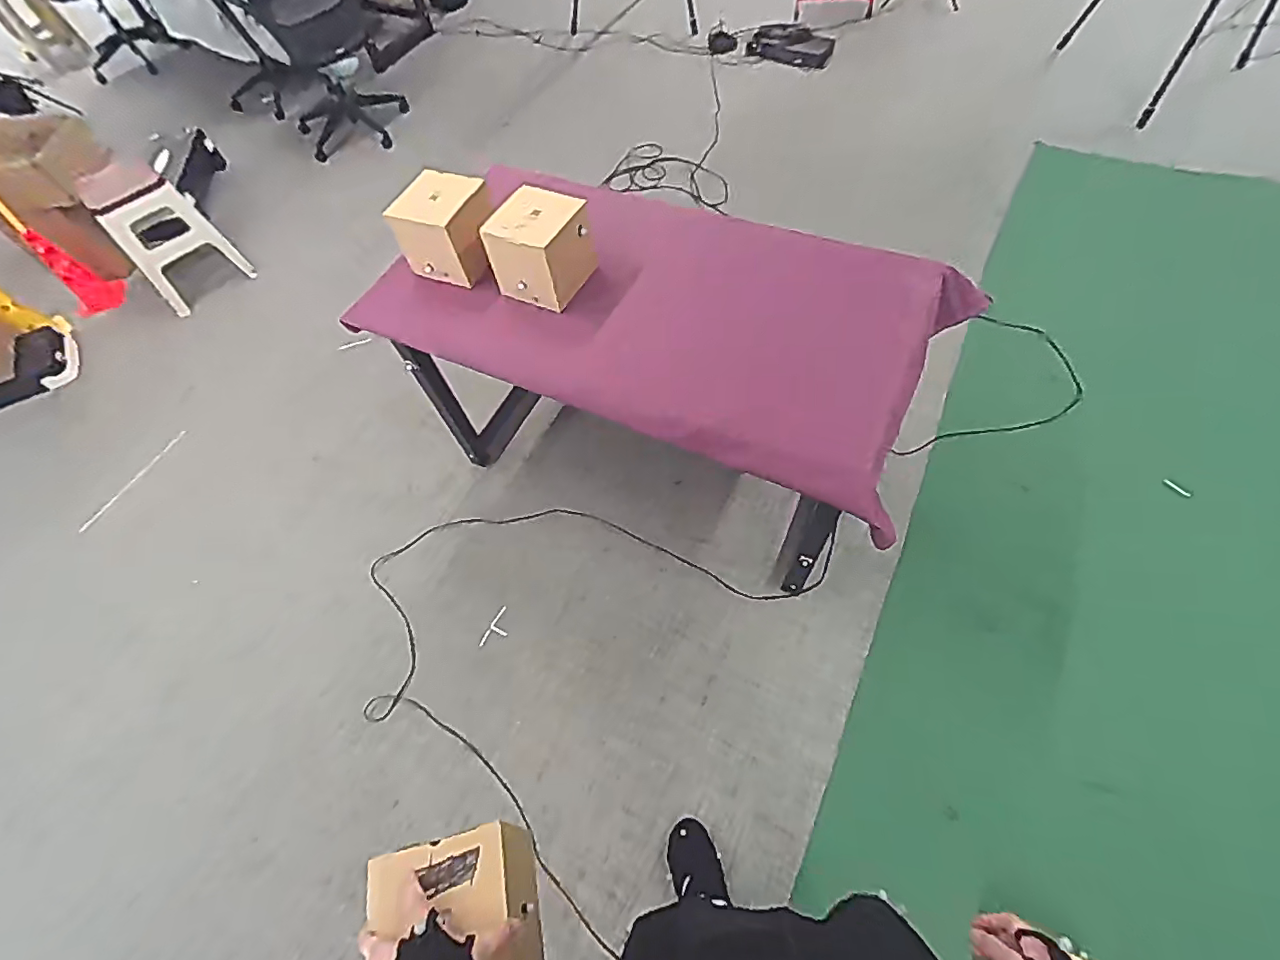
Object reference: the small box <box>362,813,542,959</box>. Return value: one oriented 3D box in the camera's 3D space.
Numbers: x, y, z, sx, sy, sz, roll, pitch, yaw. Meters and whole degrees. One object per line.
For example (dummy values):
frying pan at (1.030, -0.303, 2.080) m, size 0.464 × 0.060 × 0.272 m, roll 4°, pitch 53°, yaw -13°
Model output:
small box at (-0.230, 0.552, 0.687) m, size 0.168 × 0.176 × 0.179 m, roll -14°, pitch 54°, yaw -4°

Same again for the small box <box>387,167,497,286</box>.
small box at (-0.440, -0.590, 1.263) m, size 0.168 × 0.176 × 0.179 m, roll 18°, pitch 64°, yaw 15°

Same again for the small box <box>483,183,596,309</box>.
small box at (-0.211, -0.516, 1.199) m, size 0.168 × 0.176 × 0.179 m, roll 23°, pitch 65°, yaw 17°

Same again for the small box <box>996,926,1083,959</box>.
small box at (0.821, 1.023, 1.061) m, size 0.179 × 0.176 × 0.168 m, roll 24°, pitch 65°, yaw 17°
